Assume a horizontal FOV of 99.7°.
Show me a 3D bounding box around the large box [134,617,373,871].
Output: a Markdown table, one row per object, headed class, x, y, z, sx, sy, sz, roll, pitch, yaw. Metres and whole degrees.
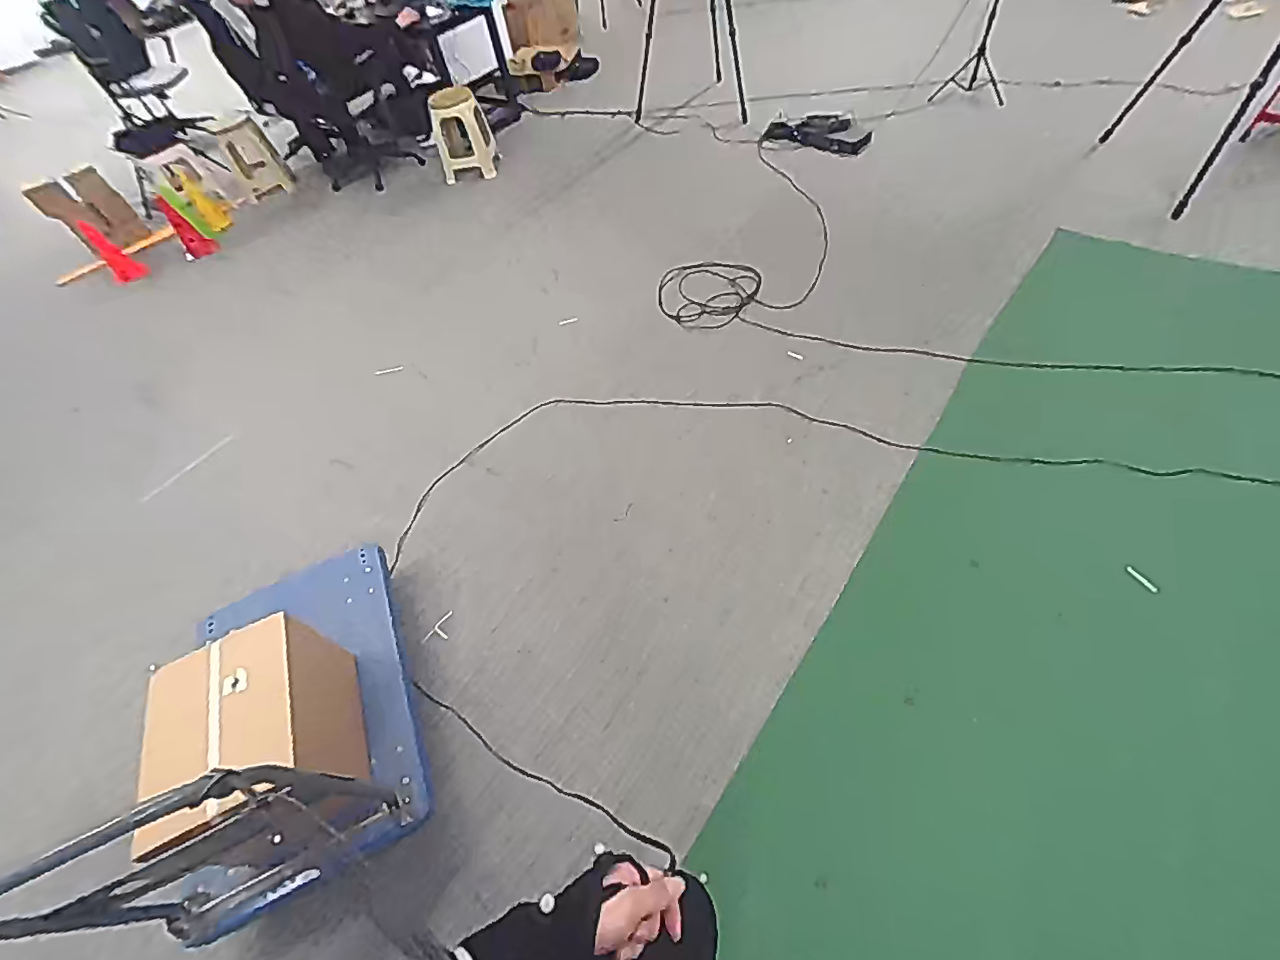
| class | x | y | z | sx | sy | sz | roll | pitch | yaw |
| --- | --- | --- | --- | --- | --- | --- | --- | --- | --- |
| large box | -0.879 | 0.613 | 1.268 | 0.320 | 0.320 | 0.408 | -25 | 52 | -11 |
